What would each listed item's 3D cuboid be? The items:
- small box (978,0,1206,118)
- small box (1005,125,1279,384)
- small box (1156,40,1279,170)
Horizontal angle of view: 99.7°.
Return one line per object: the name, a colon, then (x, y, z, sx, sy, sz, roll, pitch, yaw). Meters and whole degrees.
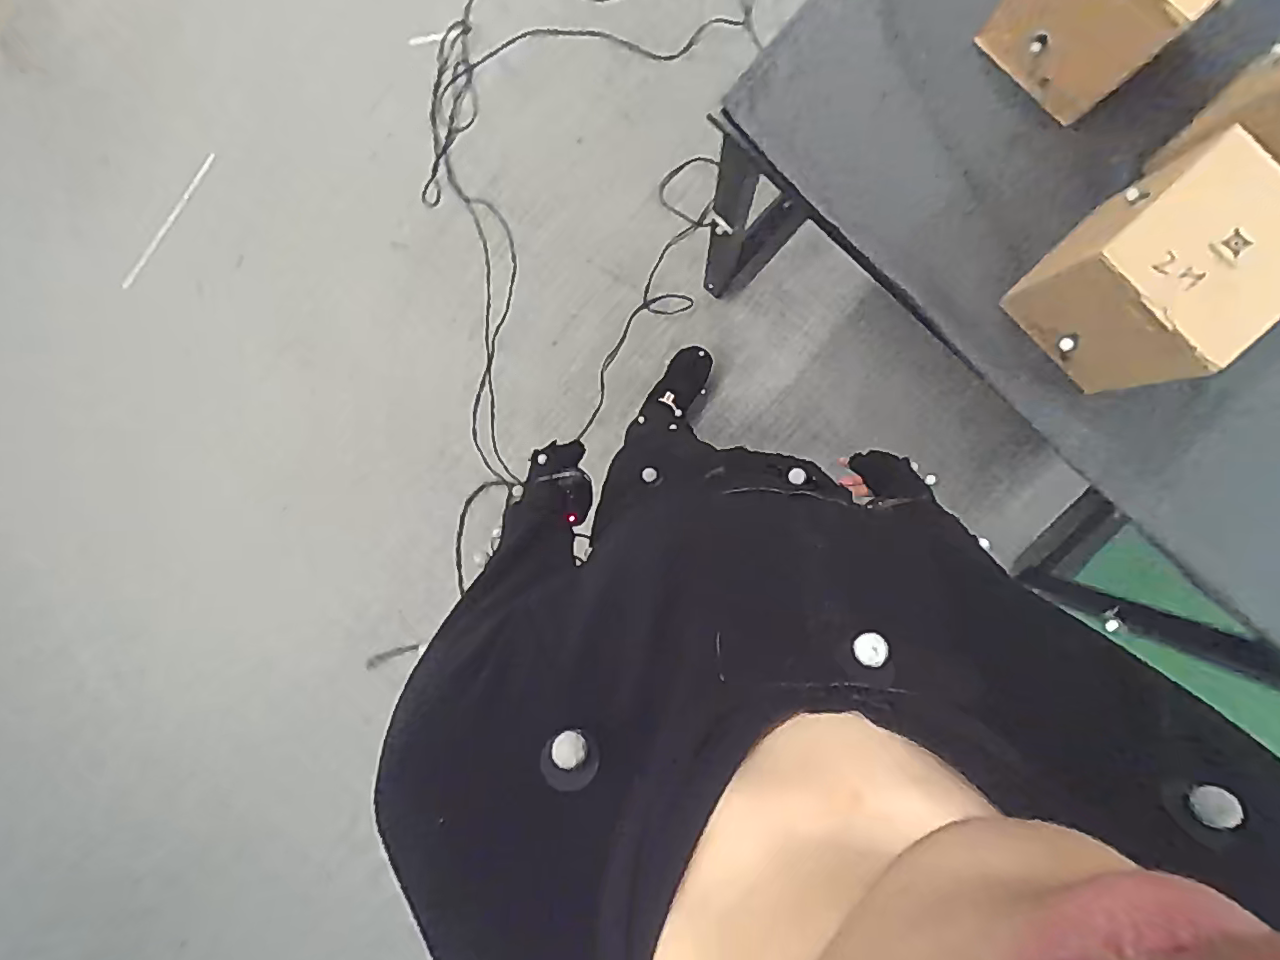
small box: (0.526, -0.560, 0.592, 0.168, 0.176, 0.179, 44, 96, 1)
small box: (0.568, -0.231, 0.604, 0.179, 0.176, 0.168, -45, 89, 4)
small box: (0.731, -0.390, 0.586, 0.179, 0.176, 0.168, -44, 90, 4)
